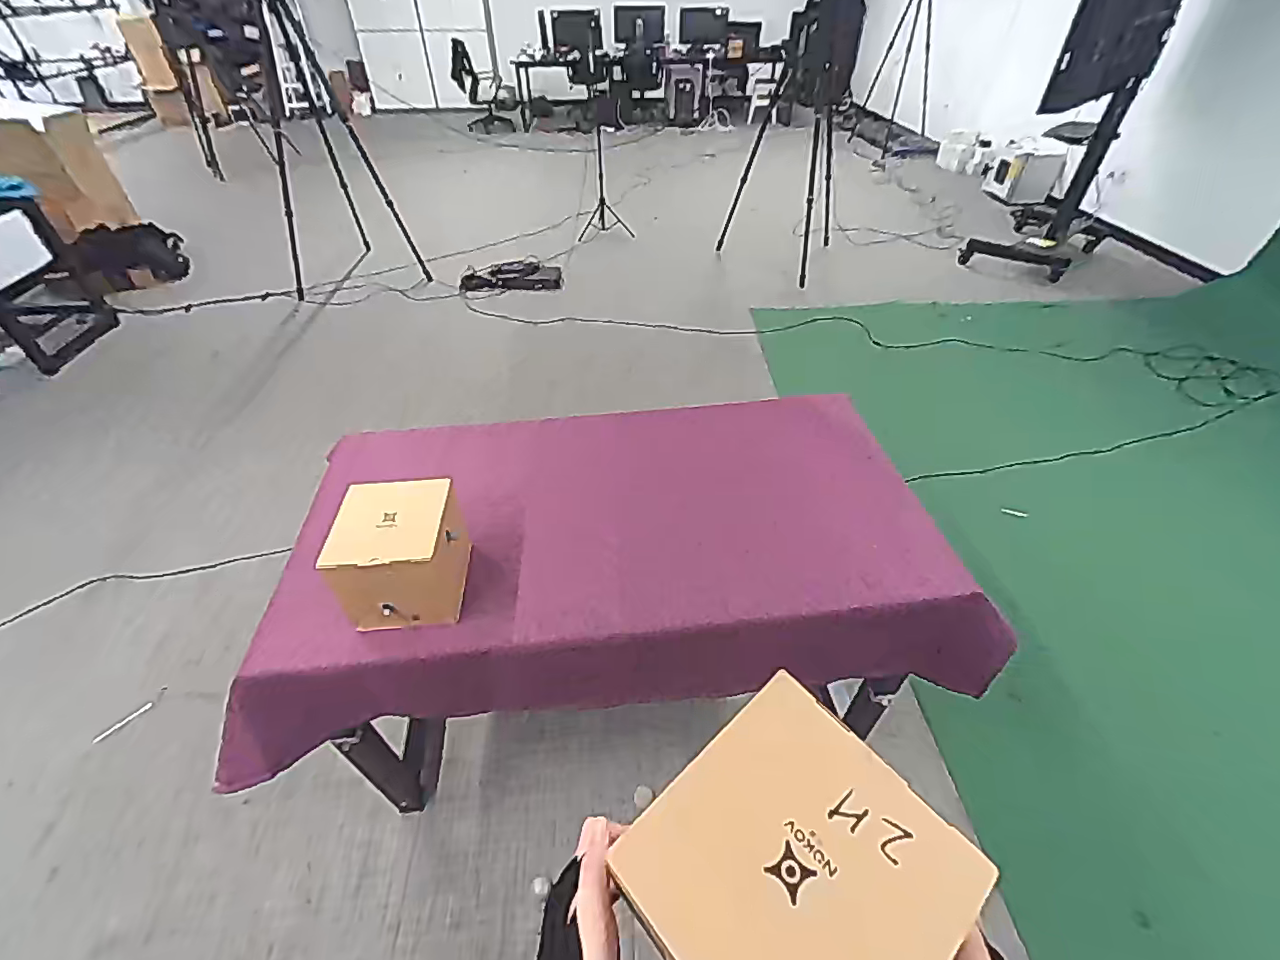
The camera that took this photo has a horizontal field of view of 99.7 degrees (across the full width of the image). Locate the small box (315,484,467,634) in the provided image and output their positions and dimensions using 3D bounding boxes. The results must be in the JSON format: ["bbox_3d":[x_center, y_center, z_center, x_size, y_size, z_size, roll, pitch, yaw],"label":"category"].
[{"bbox_3d":[-0.390,0.128,0.886,0.168,0.176,0.179,-4,44,-4],"label":"small box"}]
